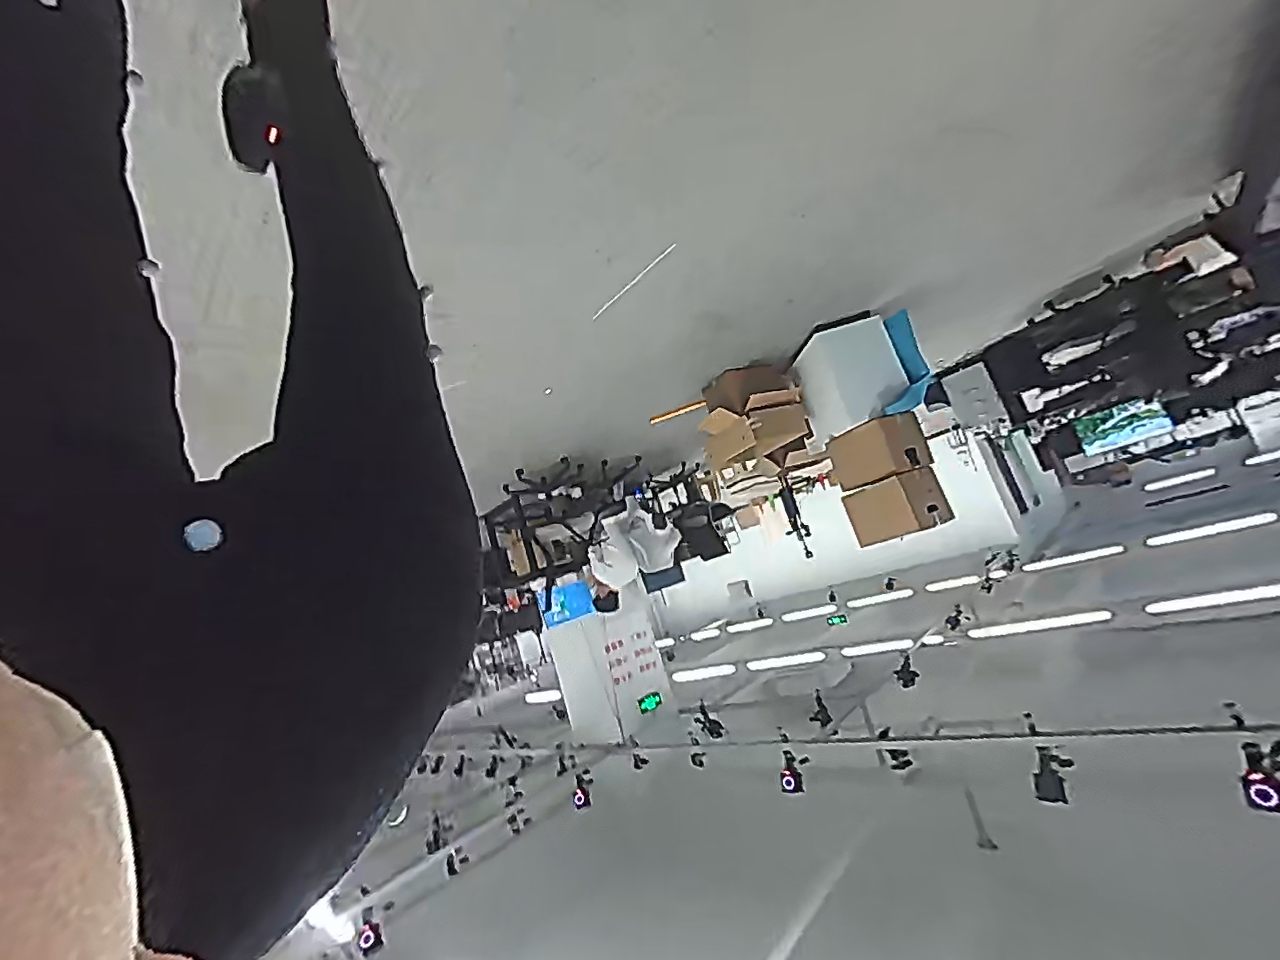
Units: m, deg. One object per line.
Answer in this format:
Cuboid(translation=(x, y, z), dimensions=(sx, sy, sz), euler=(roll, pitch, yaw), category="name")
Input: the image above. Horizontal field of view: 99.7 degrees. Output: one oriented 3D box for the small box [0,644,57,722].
Cuboid(translation=(-1.626, 0.535, 1.375), dimensions=(0.179, 0.176, 0.168), euler=(-9, 166, -45), category="small box")
